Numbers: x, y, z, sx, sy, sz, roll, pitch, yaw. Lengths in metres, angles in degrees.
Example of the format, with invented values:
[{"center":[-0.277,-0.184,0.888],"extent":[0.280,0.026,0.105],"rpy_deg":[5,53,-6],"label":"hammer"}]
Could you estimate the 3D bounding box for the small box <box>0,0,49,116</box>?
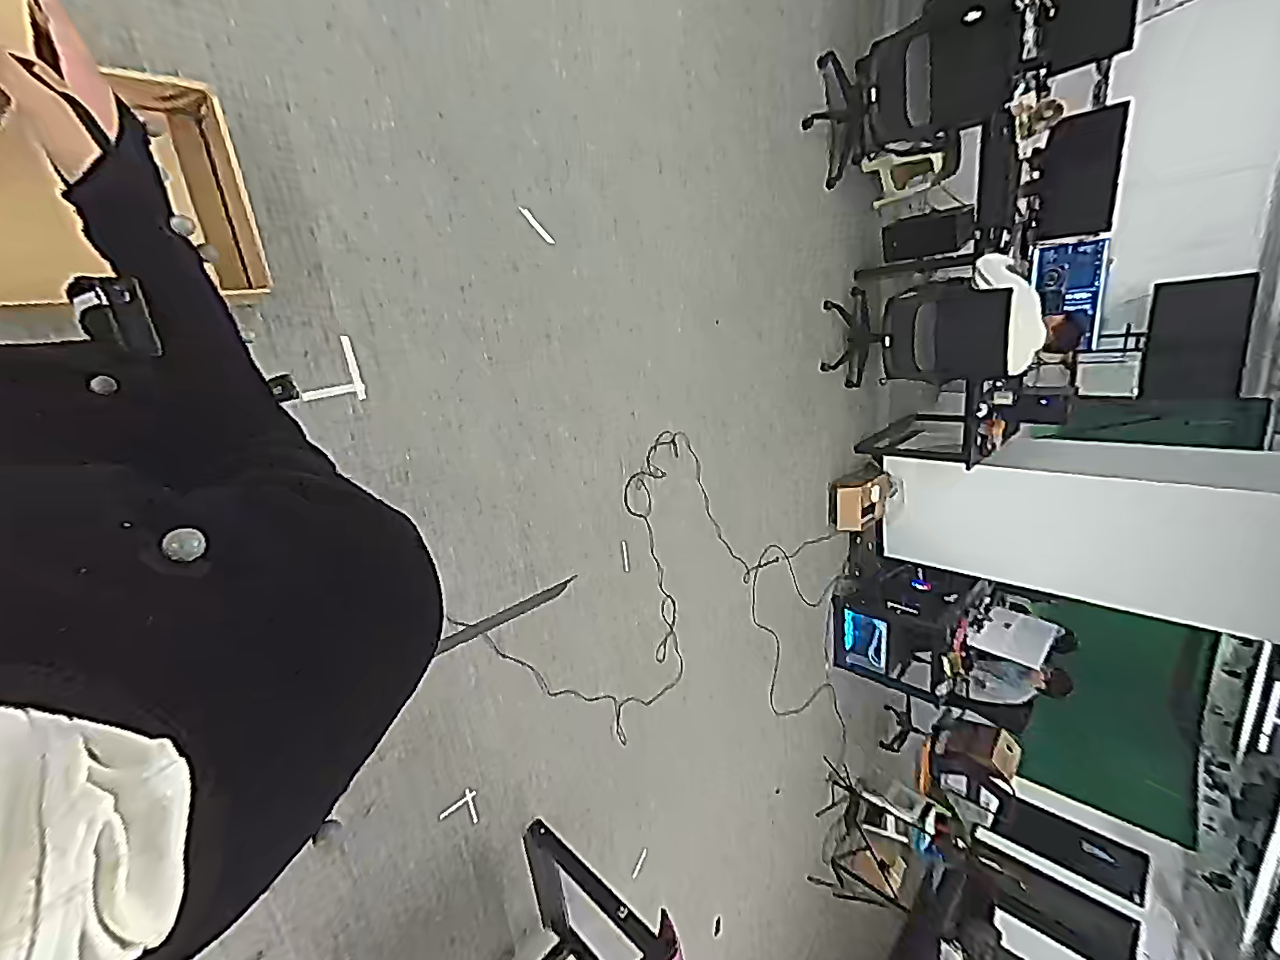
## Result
[{"center":[-0.531,-0.362,0.343],"extent":[0.179,0.176,0.168],"rpy_deg":[-12,104,-55],"label":"small box"}]
